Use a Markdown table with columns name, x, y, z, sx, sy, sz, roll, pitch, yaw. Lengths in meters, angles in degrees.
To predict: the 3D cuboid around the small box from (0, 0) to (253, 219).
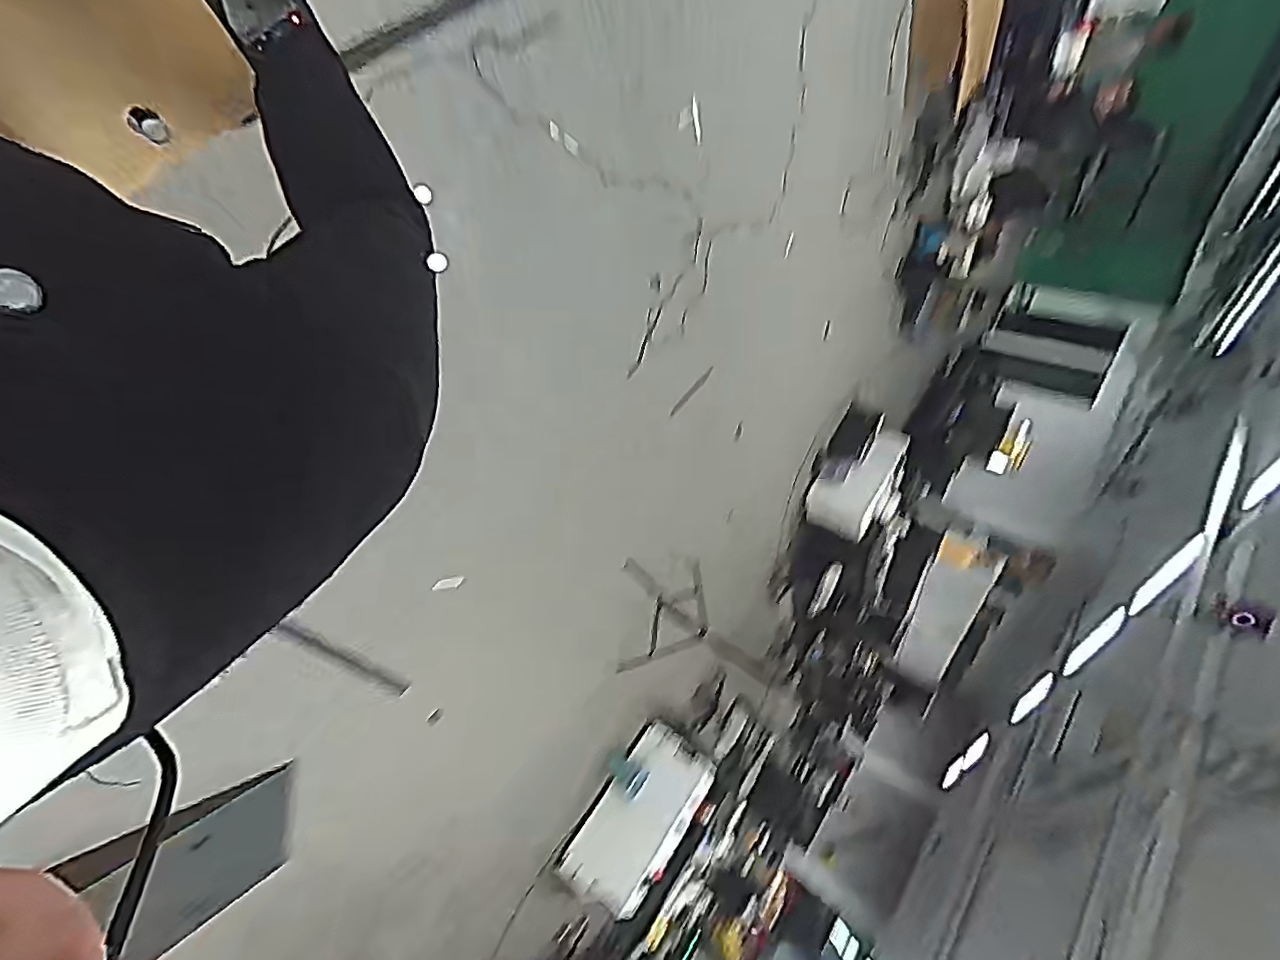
| name | x | y | z | sx | sy | sz | roll | pitch | yaw |
| --- | --- | --- | --- | --- | --- | --- | --- | --- | --- |
| small box | -0.415 | -0.328 | 0.370 | 0.179 | 0.168 | 0.176 | -41 | 180 | -10 |
